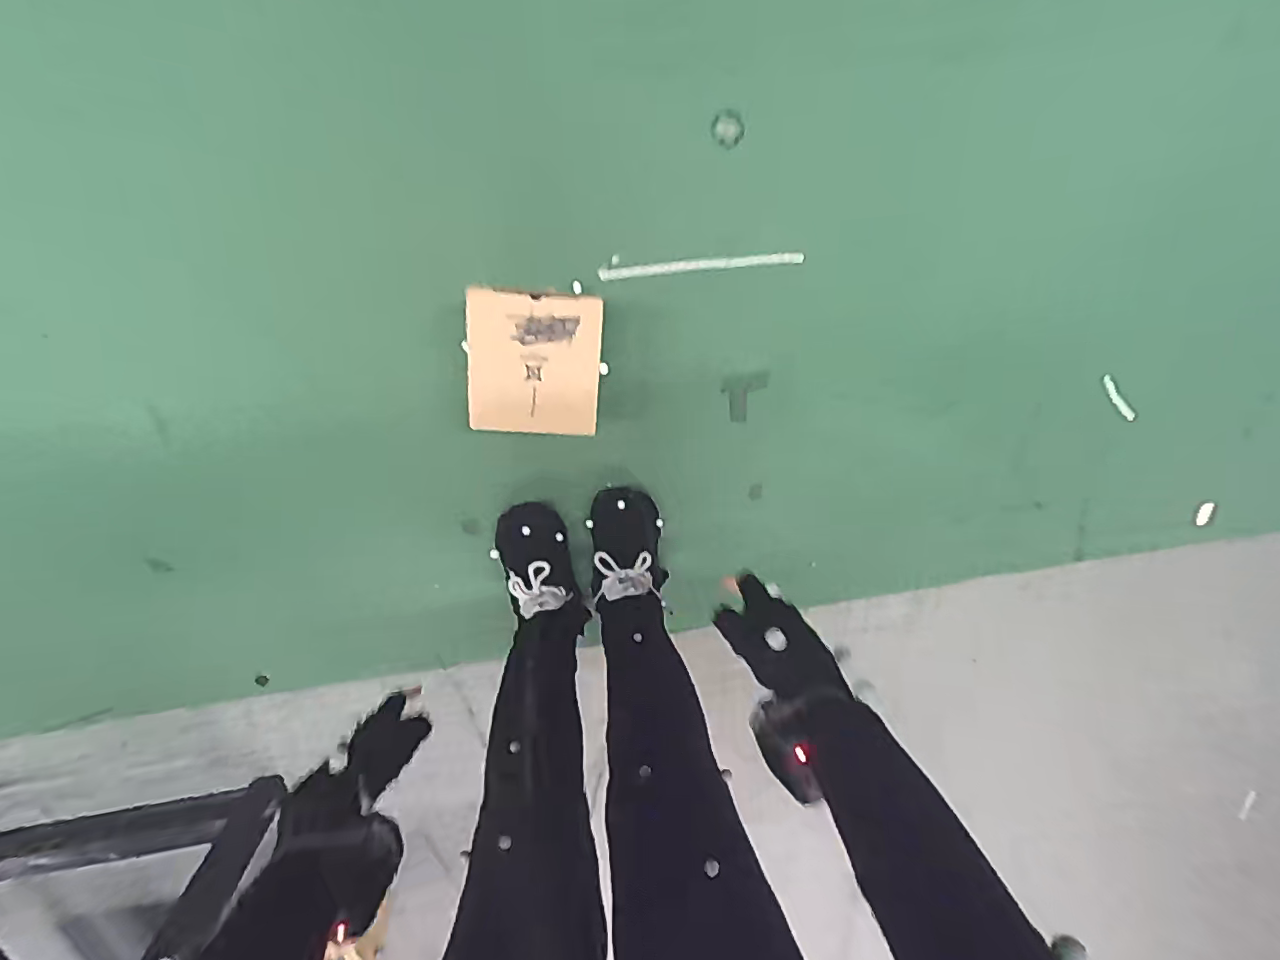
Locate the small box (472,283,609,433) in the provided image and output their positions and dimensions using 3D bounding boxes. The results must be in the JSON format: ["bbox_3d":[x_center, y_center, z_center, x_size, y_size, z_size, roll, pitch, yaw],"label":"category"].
[{"bbox_3d":[-0.138,-0.175,0.754,0.168,0.176,0.179,3,110,-8],"label":"small box"}]
